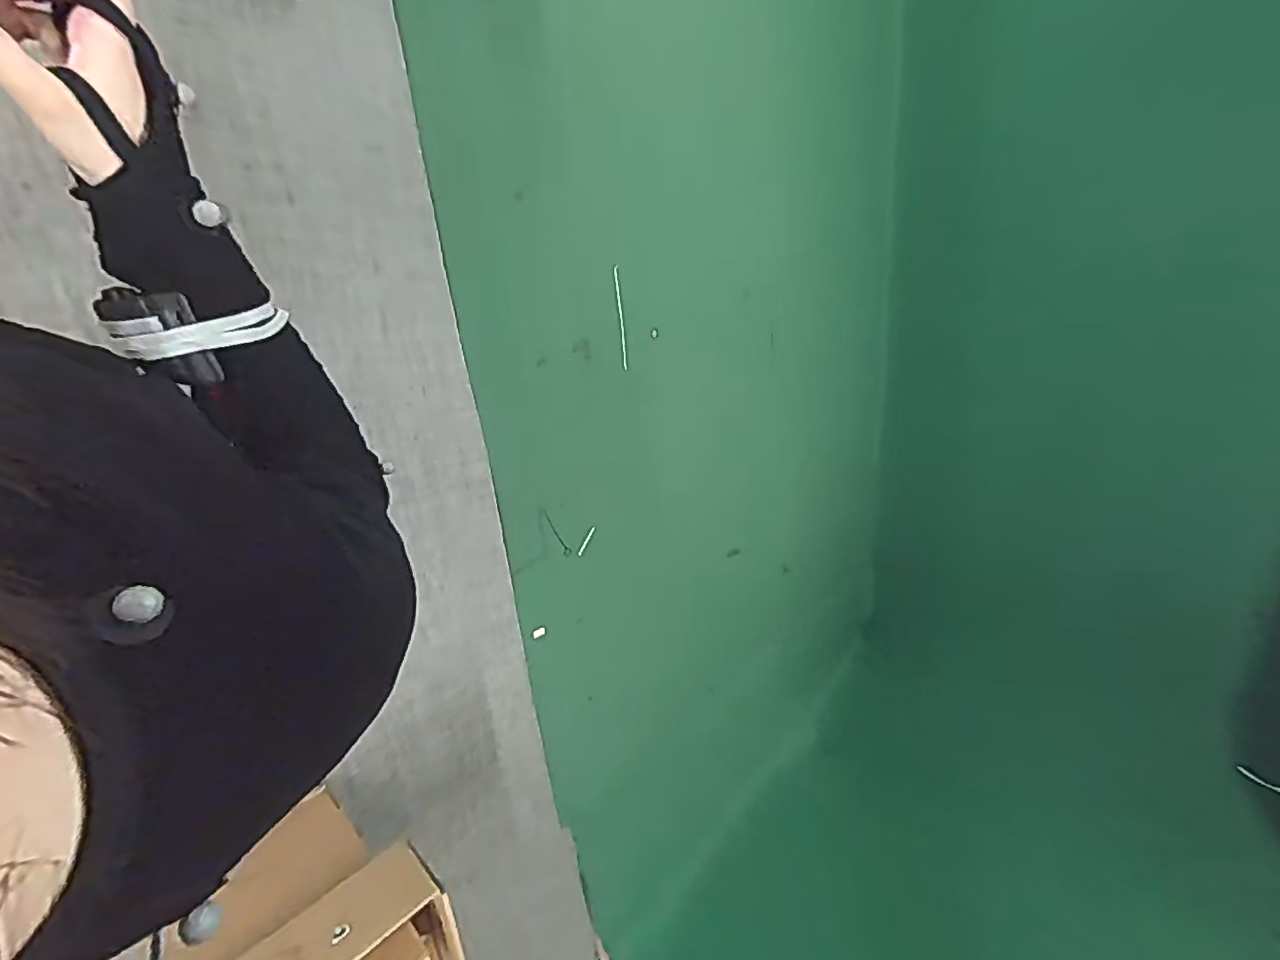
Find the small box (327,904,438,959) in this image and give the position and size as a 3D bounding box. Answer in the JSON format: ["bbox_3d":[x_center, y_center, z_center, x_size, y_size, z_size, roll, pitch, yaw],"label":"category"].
[{"bbox_3d":[-0.522,1.031,1.099,0.179,0.176,0.168,-21,113,-43],"label":"small box"}]
